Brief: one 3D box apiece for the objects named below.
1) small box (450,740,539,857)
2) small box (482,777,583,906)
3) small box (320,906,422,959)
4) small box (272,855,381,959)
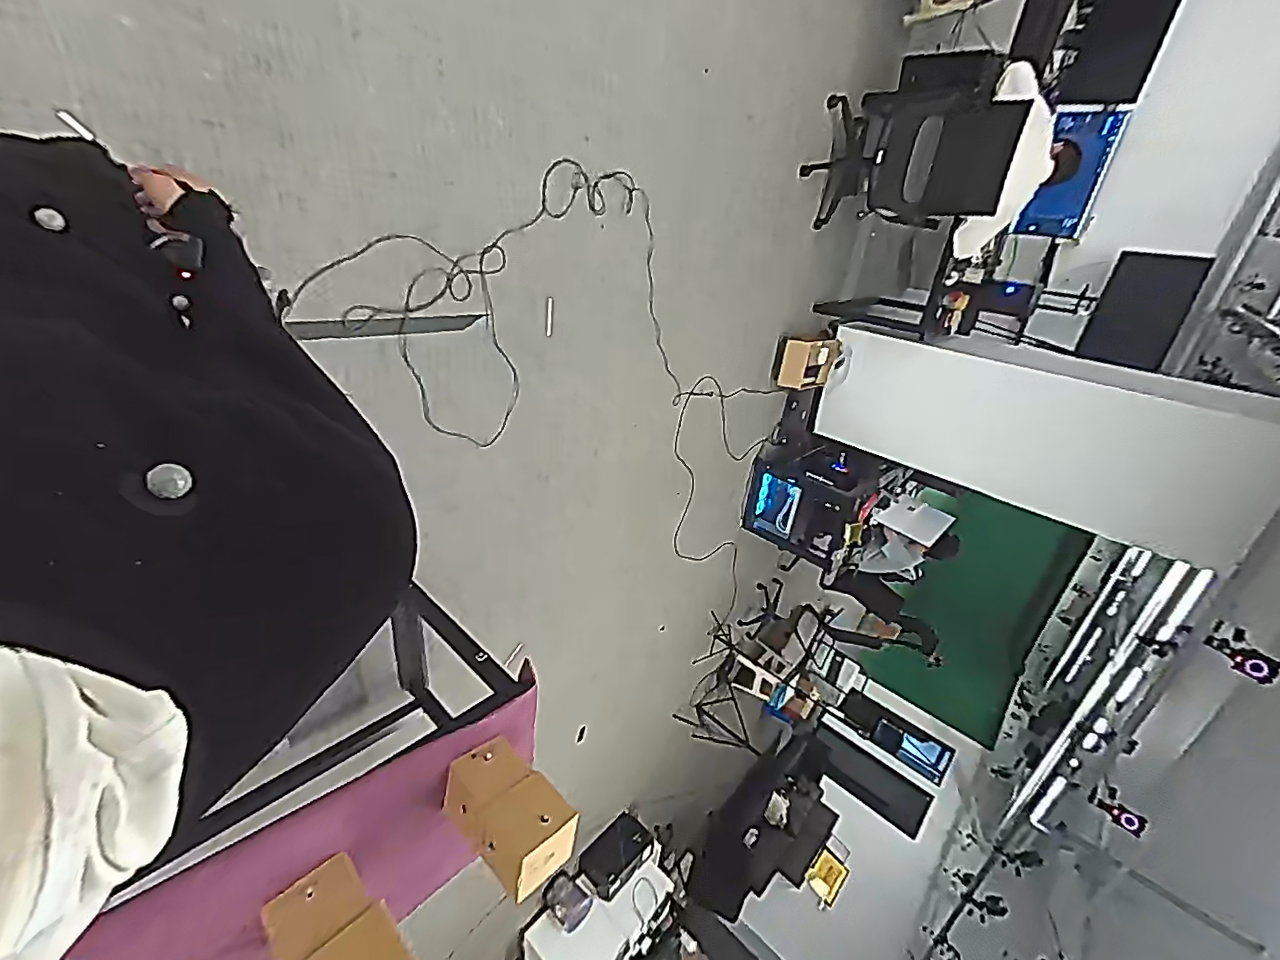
[{"bbox_3d":[-0.399,0.855,1.469,0.168,0.176,0.179,-10,118,-49],"label":"small box"},{"bbox_3d":[-0.274,0.903,1.373,0.179,0.176,0.168,-13,120,-47],"label":"small box"},{"bbox_3d":[-0.553,1.044,1.113,0.179,0.176,0.168,-24,130,-41],"label":"small box"},{"bbox_3d":[-0.686,0.997,1.198,0.179,0.176,0.168,-24,130,-41],"label":"small box"}]
